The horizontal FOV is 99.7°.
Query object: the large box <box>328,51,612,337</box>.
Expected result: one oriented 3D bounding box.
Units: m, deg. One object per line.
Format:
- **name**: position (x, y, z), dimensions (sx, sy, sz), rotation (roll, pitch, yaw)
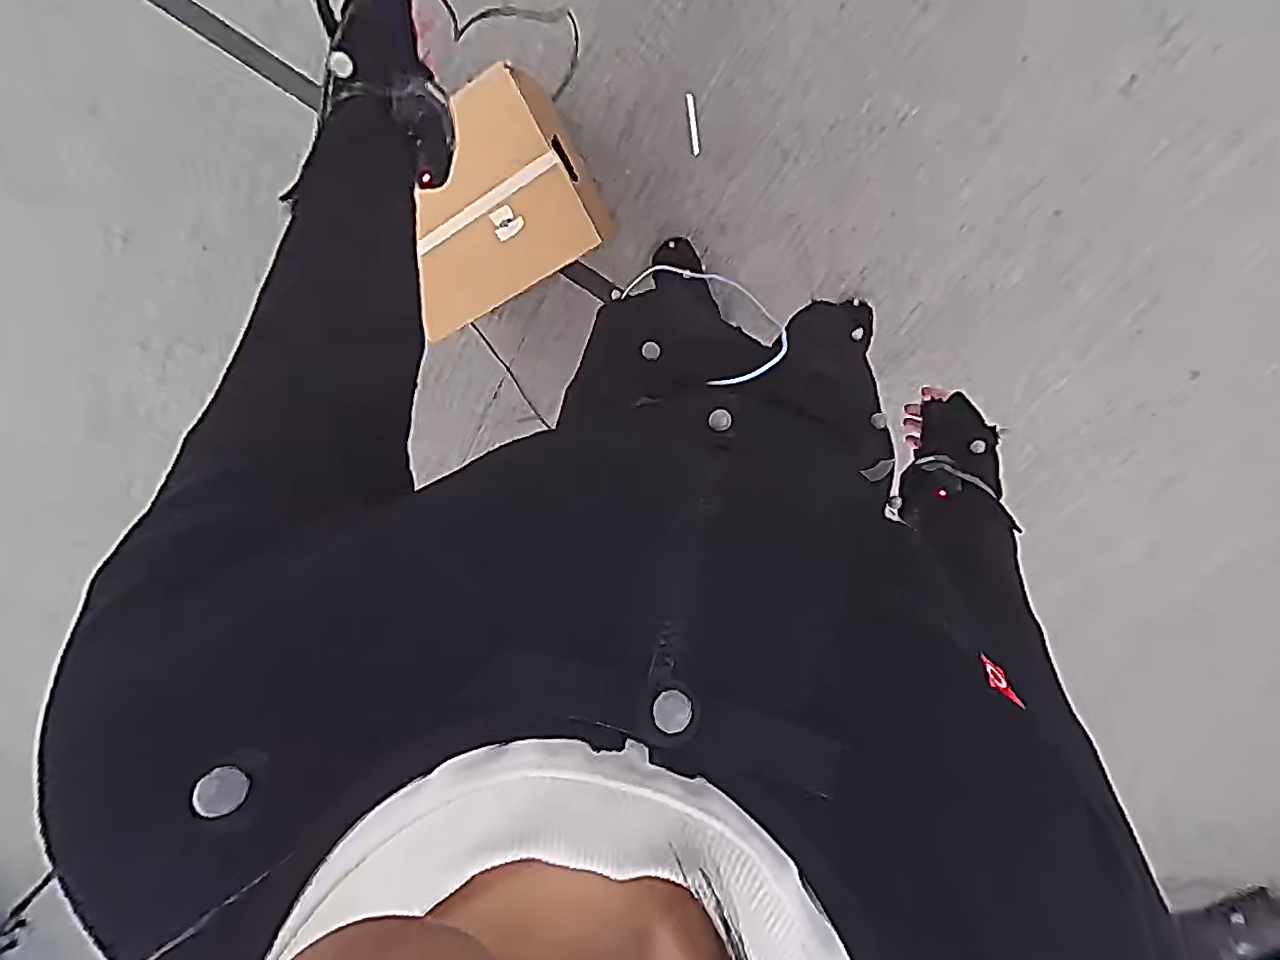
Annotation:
- **large box**: position (-0.313, -0.552, 1.104), dimensions (0.408, 0.320, 0.320), rotation (-25, 114, 15)
